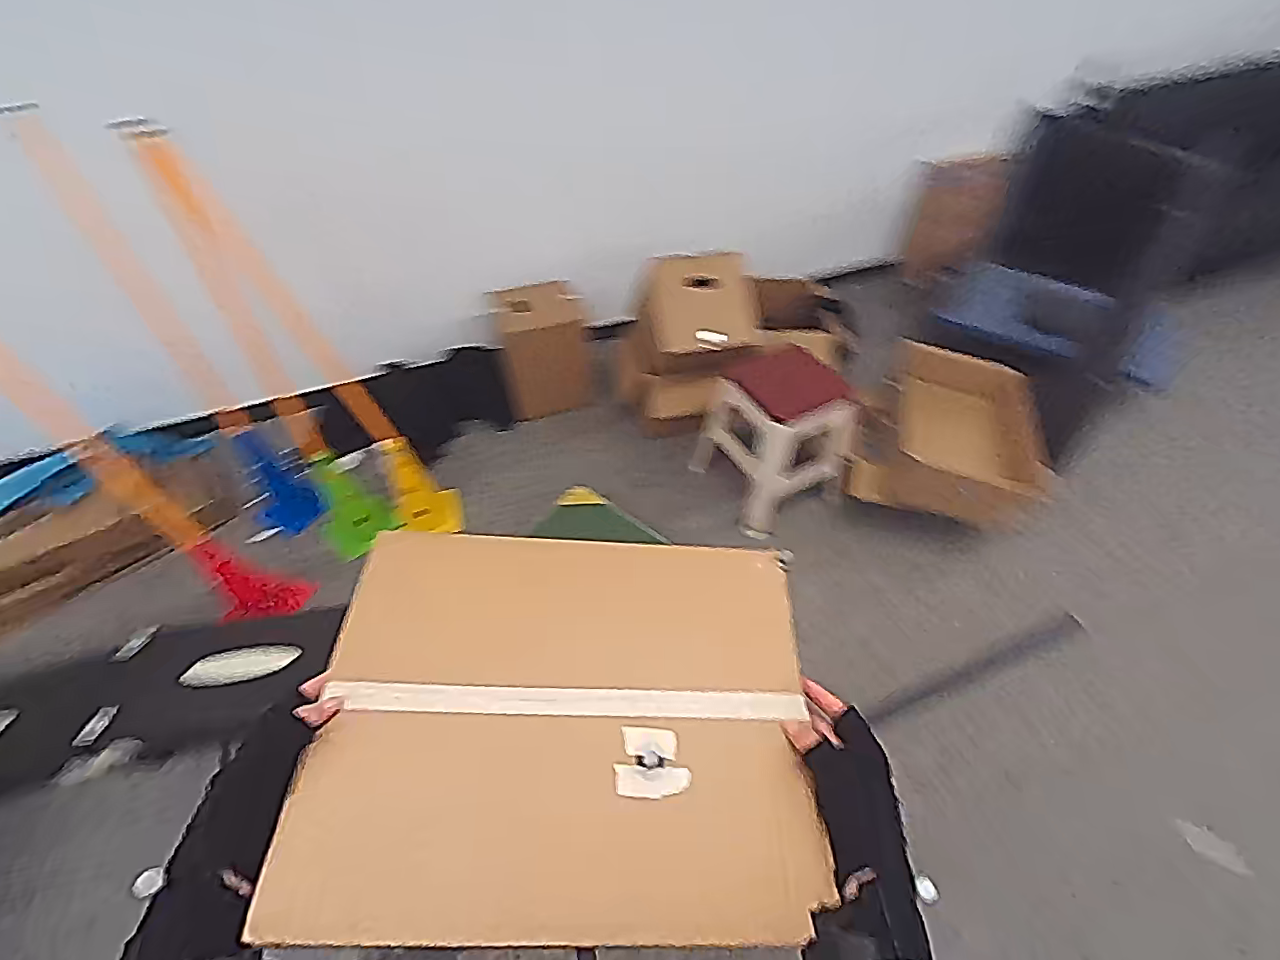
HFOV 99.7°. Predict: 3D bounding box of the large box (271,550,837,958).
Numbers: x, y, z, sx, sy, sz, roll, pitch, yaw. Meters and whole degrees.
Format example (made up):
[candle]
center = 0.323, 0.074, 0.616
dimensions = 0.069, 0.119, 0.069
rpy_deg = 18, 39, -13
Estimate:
[large box]
center = -0.067, 0.293, 0.583
dimensions = 0.408, 0.320, 0.320
rpy_deg = 4, 54, -4
